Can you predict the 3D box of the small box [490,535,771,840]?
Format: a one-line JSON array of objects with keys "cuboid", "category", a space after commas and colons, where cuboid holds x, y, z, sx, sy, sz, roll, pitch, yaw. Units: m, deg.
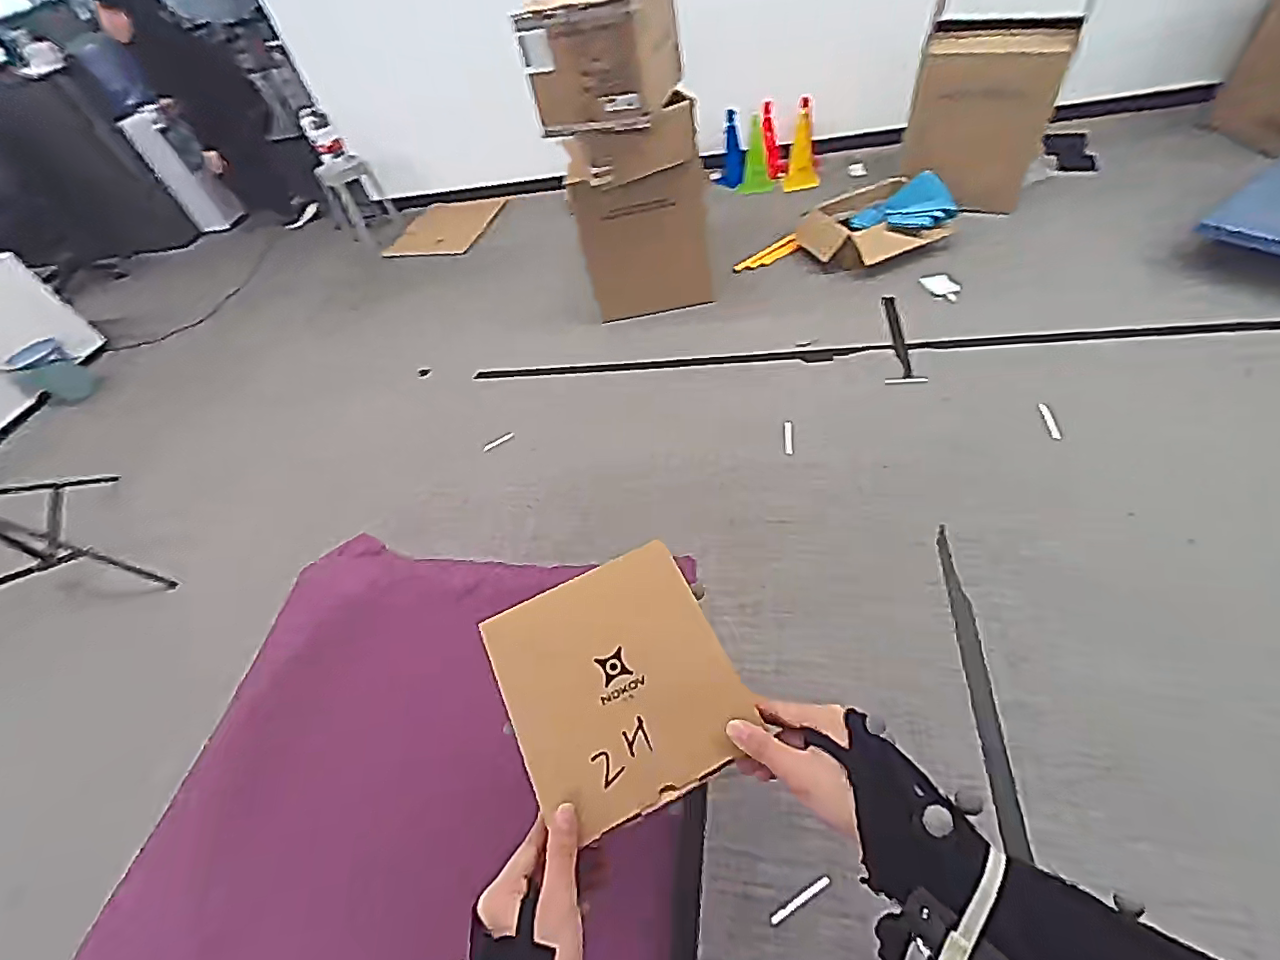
[{"cuboid": [-0.011, 0.182, 0.479, 0.168, 0.176, 0.179, -24, 62, -10], "category": "small box"}]
